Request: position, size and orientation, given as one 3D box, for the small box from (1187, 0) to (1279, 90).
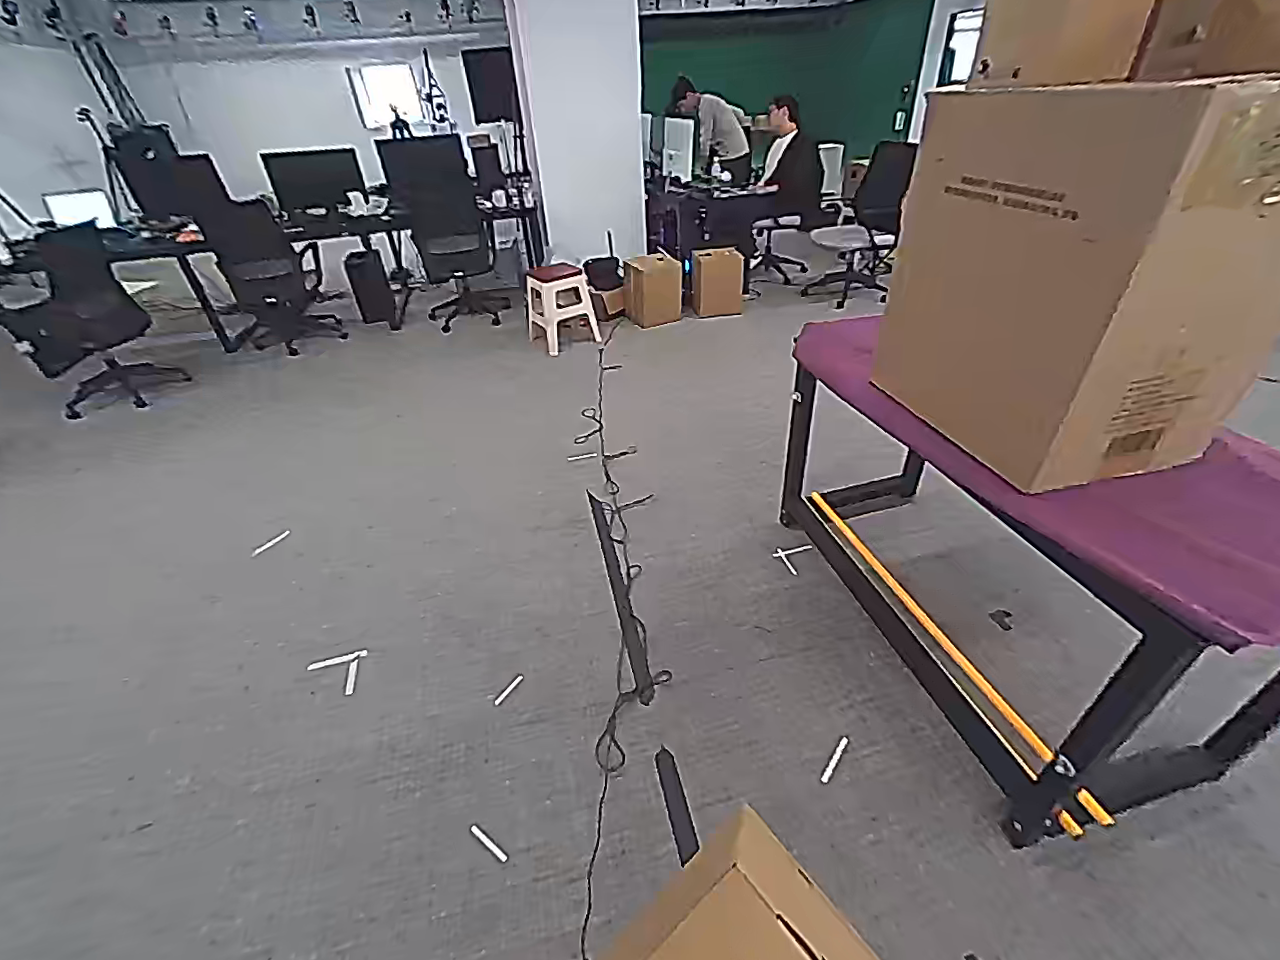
[{"bbox_3d":[0.936,-0.650,0.742,0.168,0.176,0.179,-14,34,-13],"label":"small box"}]
